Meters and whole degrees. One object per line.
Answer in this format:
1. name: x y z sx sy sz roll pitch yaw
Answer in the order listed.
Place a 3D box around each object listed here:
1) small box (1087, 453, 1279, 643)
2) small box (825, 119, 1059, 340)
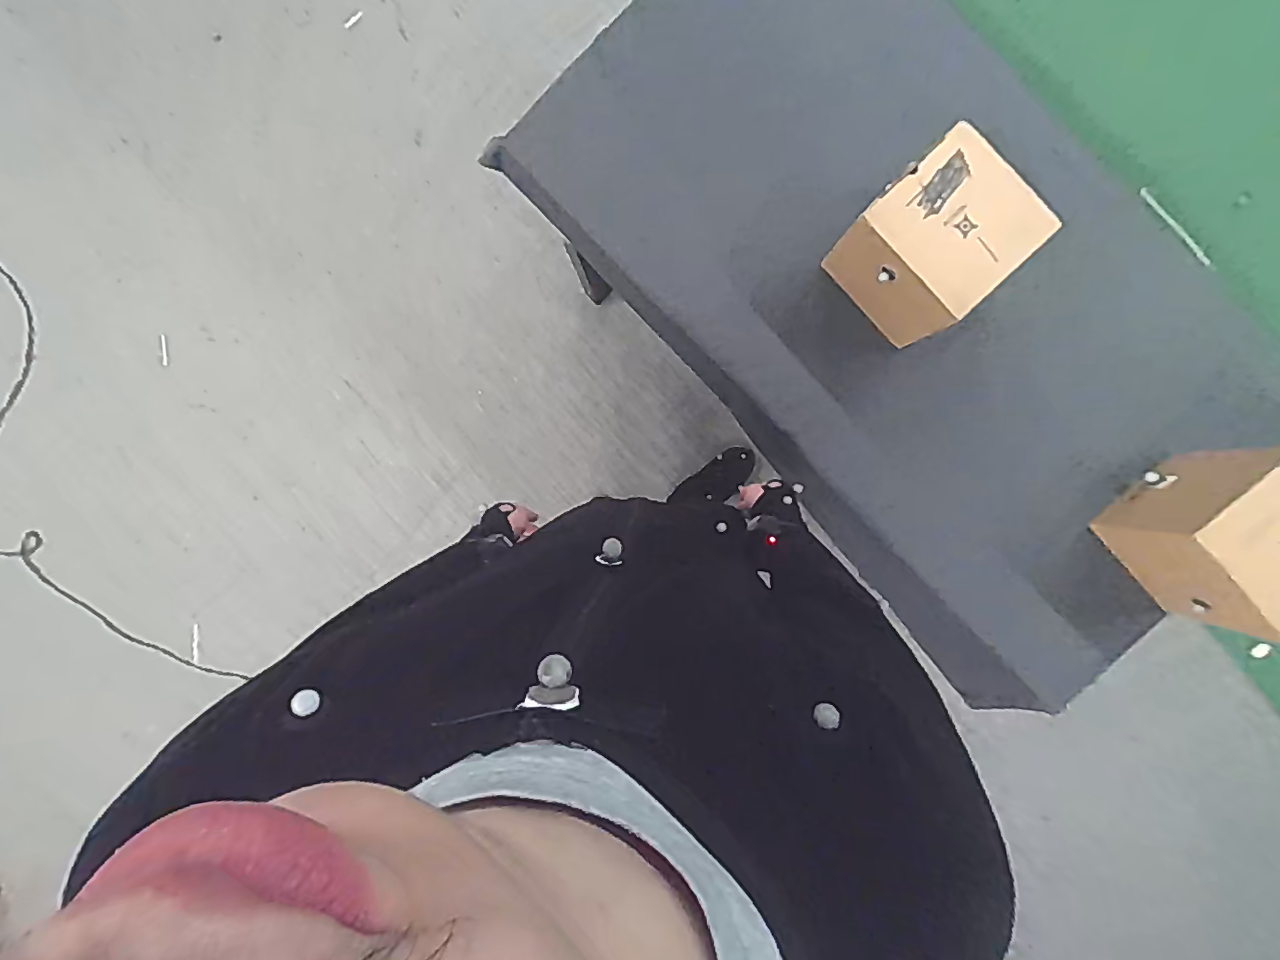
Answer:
1. small box: 0.770 0.077 0.719 0.168 0.176 0.179 -42 89 2
2. small box: 0.380 -0.312 0.718 0.168 0.176 0.179 -43 91 4
